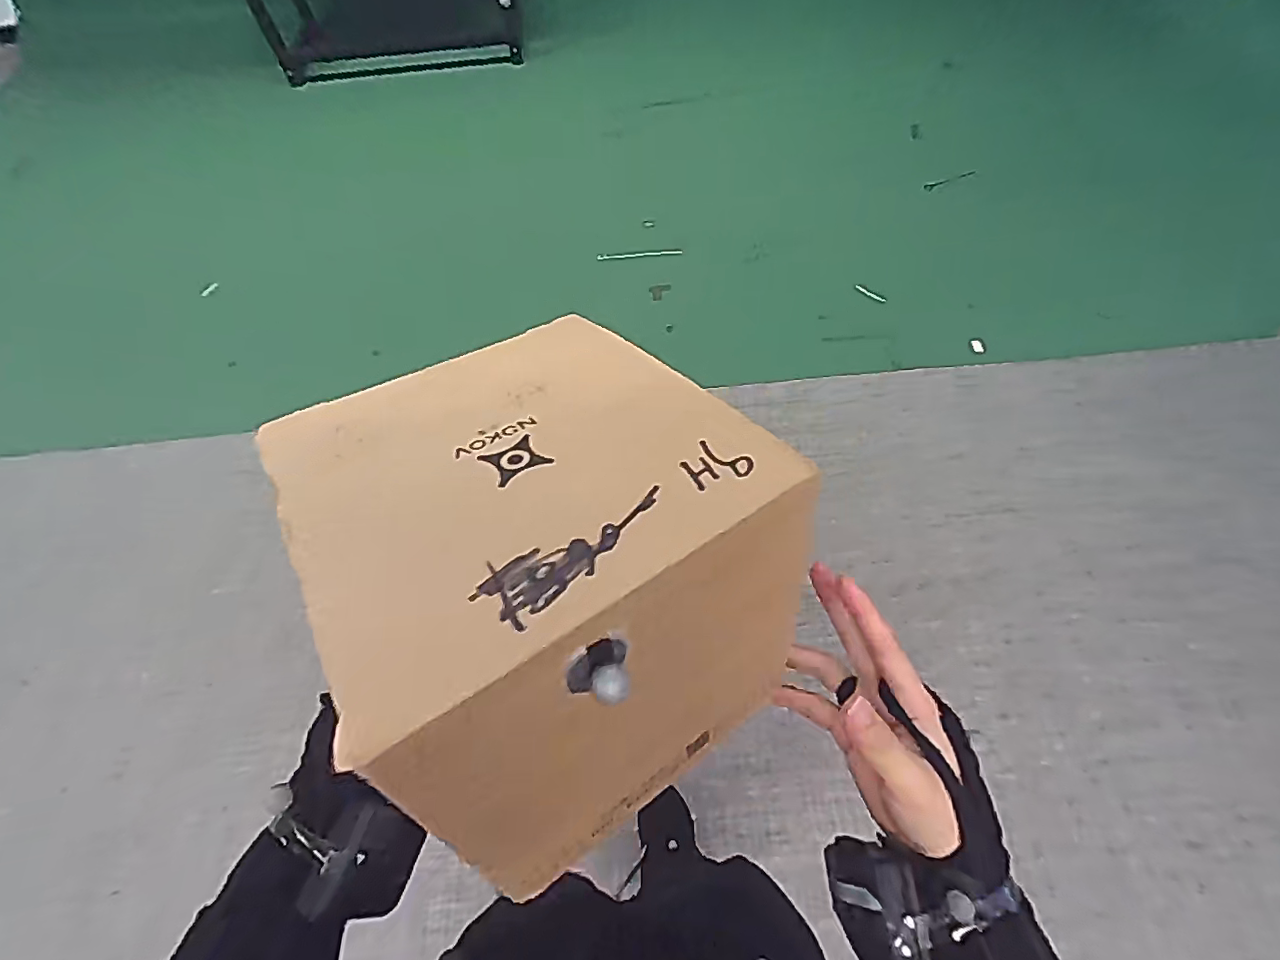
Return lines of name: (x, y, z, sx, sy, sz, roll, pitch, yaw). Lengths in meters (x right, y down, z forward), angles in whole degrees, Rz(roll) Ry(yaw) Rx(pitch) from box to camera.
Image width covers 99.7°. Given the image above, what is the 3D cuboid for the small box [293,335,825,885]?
small box: (-0.038, 0.055, 0.277, 0.168, 0.176, 0.179, -30, 47, -22)
